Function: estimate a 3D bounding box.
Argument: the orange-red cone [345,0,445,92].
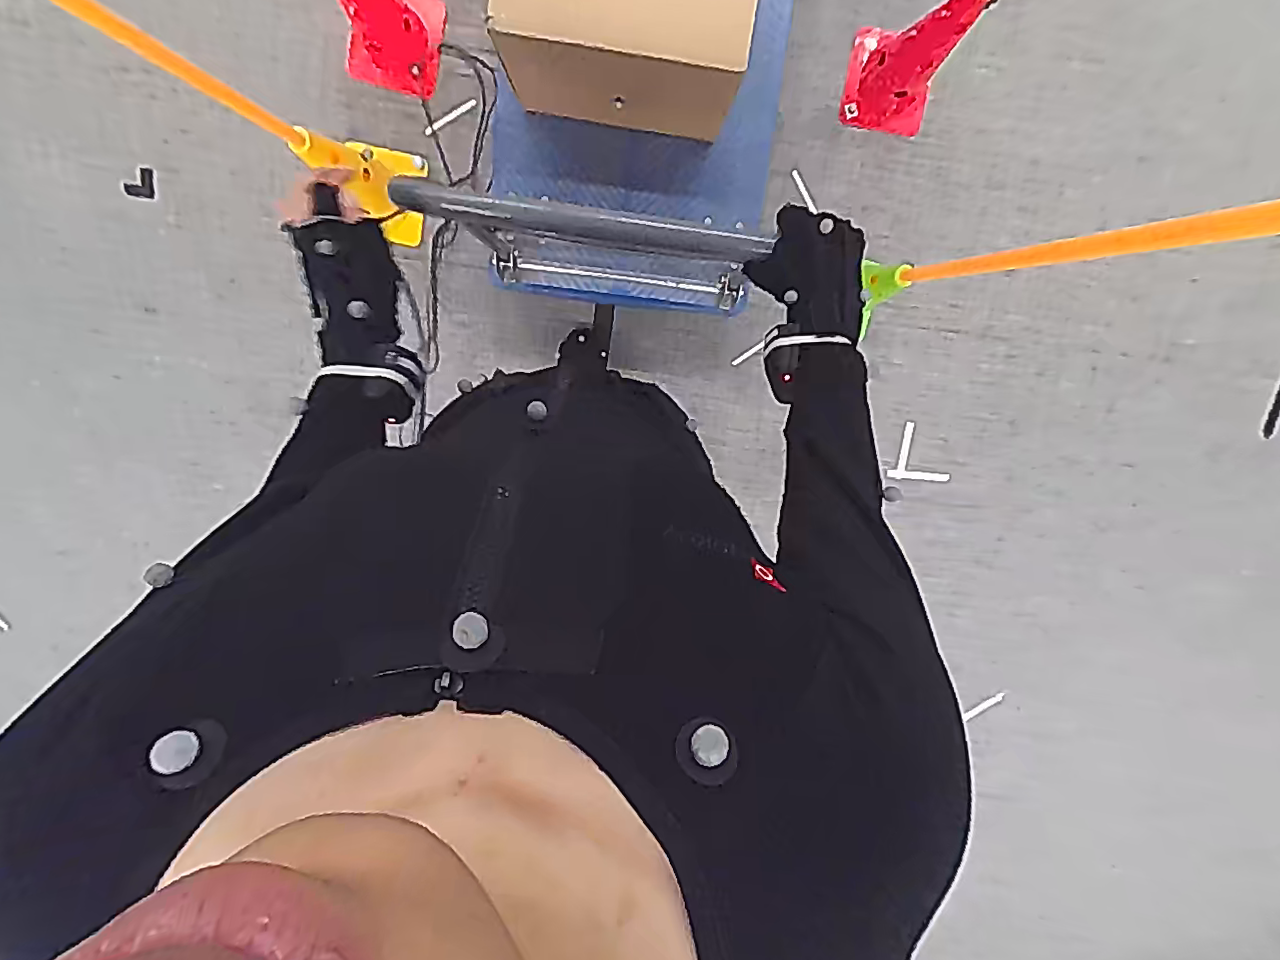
[{"bbox_3d":[-0.541,-0.964,1.045,0.198,0.360,0.199,15,101,-6],"label":"orange-red cone"}]

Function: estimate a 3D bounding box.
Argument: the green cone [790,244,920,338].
[{"bbox_3d":[0.501,-0.436,1.201,0.202,0.368,0.200,11,103,-6],"label":"green cone"}]

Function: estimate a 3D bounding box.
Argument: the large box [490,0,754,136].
[{"bbox_3d":[-0.017,-0.842,0.942,0.408,0.320,0.320,7,104,-3],"label":"large box"}]

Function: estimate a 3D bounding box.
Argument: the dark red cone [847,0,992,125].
[{"bbox_3d":[0.591,-0.896,1.074,0.201,0.394,0.202,7,104,-5],"label":"dark red cone"}]
